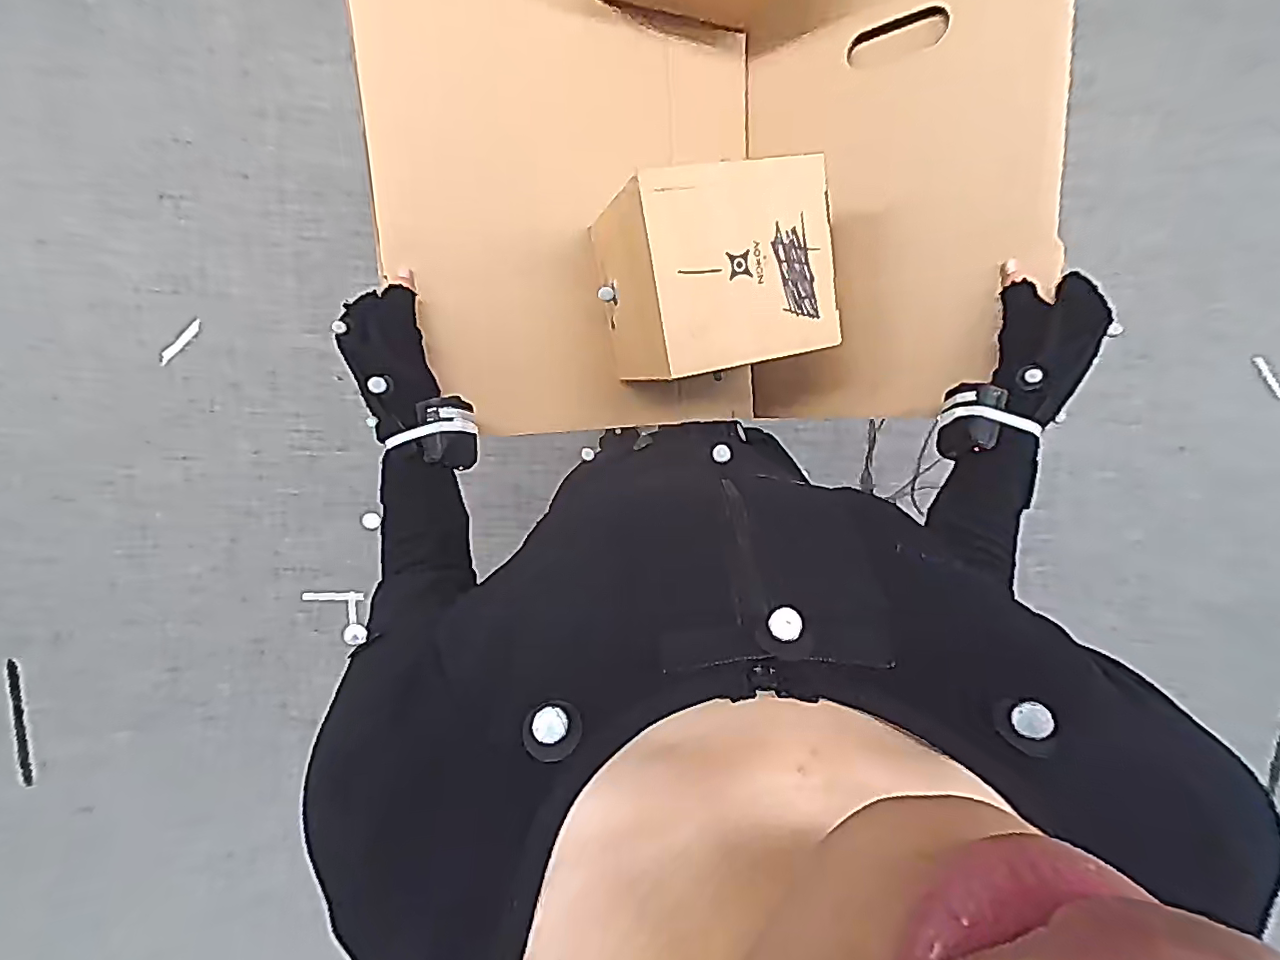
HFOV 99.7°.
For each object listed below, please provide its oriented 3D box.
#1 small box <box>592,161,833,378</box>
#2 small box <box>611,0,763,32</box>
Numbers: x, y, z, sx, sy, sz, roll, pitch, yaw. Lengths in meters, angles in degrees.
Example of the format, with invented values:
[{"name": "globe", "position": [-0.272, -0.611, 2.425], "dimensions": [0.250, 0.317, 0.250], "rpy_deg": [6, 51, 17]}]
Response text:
[{"name": "small box", "position": [0.065, -0.199, 0.548], "dimensions": [0.179, 0.176, 0.168], "rpy_deg": [-14, 103, -15]}, {"name": "small box", "position": [0.058, -0.554, 0.486], "dimensions": [0.179, 0.176, 0.168], "rpy_deg": [-2, 100, -18]}]
